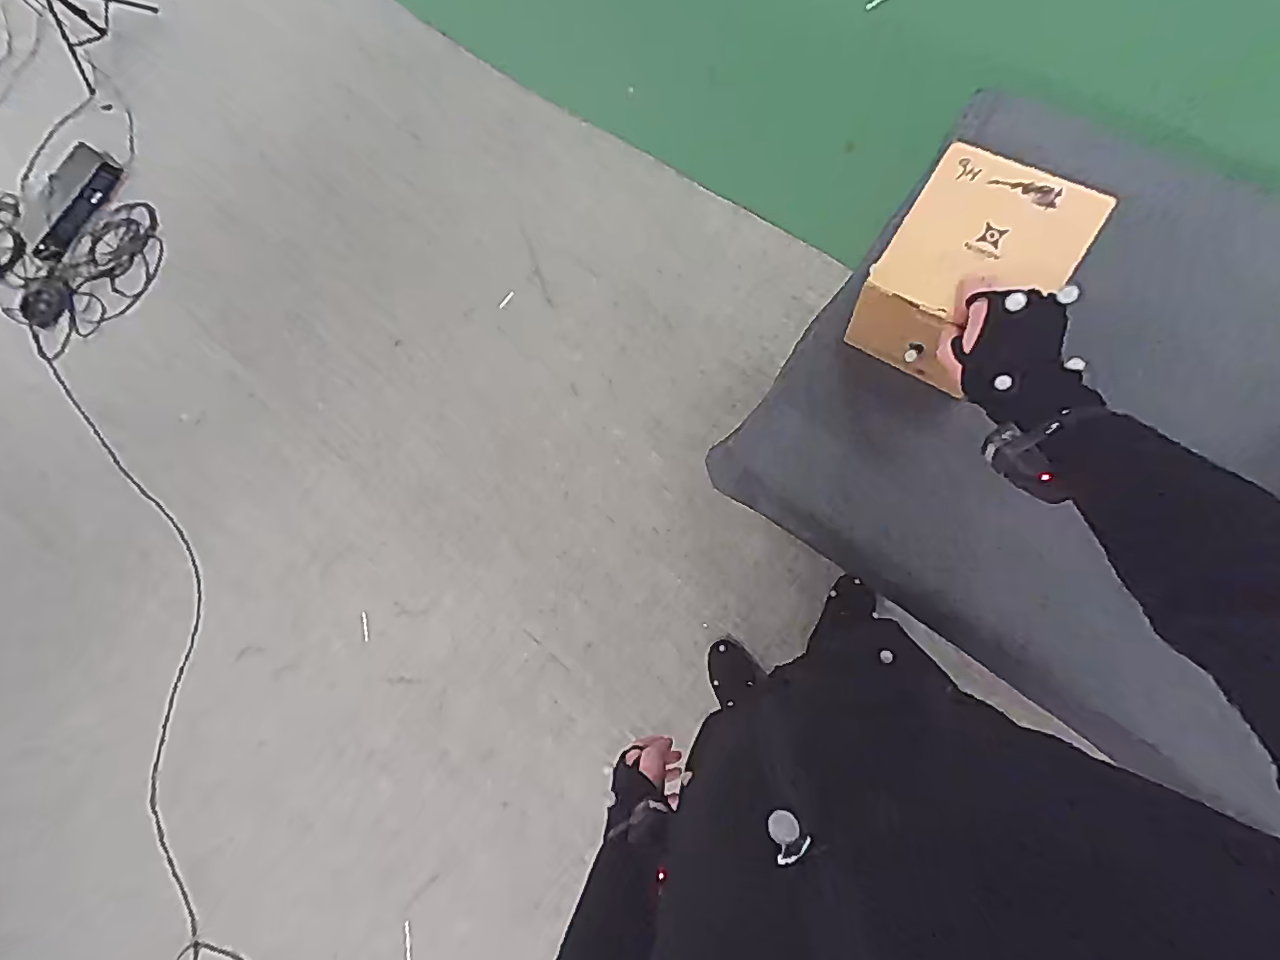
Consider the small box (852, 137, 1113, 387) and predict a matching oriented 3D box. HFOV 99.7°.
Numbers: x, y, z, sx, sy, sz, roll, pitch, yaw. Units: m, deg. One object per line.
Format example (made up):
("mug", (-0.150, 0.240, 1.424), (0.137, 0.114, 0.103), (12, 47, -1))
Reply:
("small box", (0.362, -0.231, 0.616), (0.168, 0.176, 0.179), (33, 92, 15))
